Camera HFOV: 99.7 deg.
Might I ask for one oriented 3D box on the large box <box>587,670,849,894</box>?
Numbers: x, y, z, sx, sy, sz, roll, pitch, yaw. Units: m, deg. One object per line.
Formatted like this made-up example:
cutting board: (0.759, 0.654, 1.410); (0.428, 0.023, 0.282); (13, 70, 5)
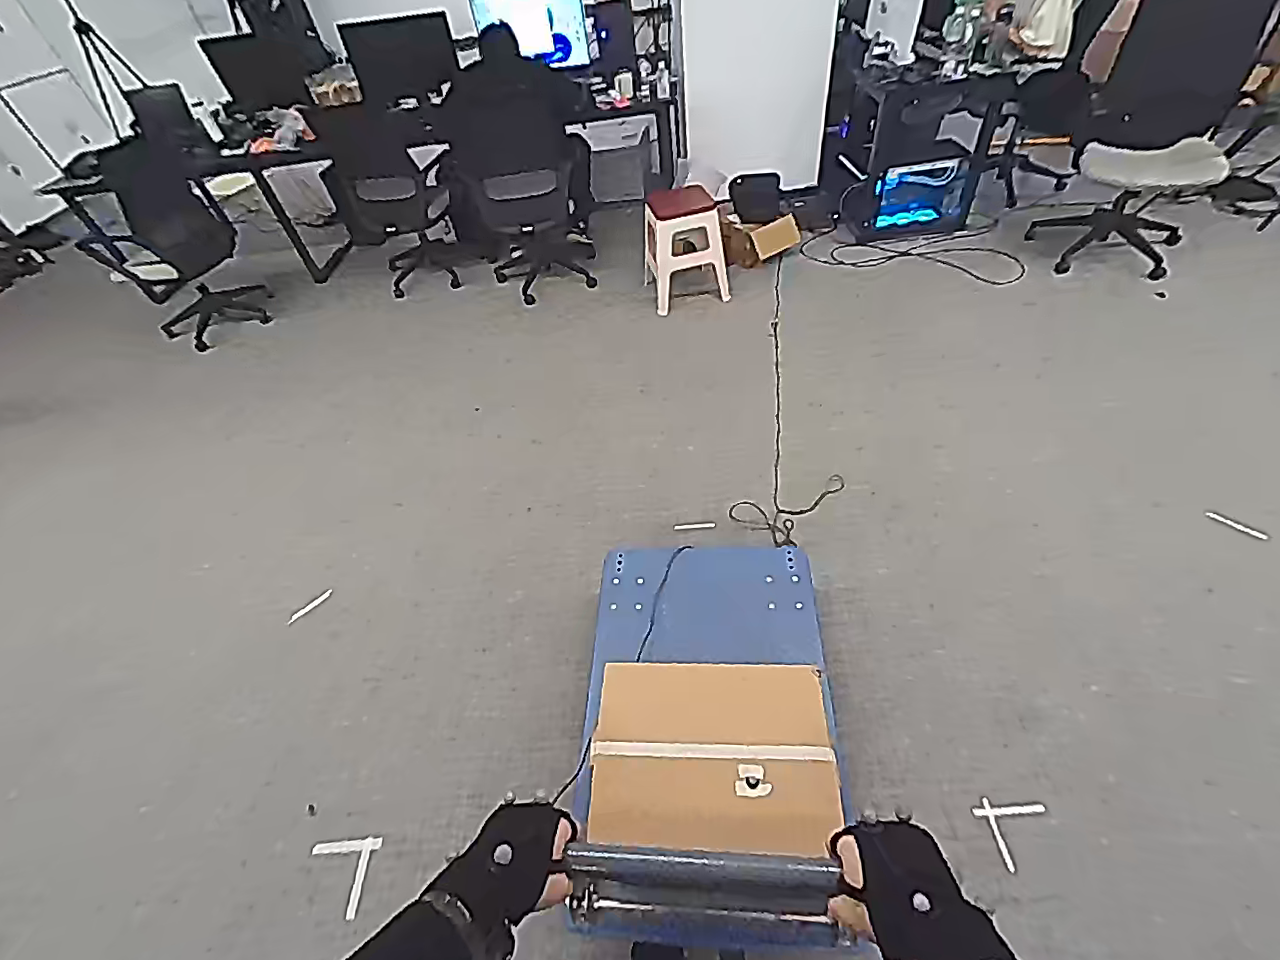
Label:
large box: (0.132, 0.572, 1.023); (0.408, 0.320, 0.320); (-2, 48, 6)
